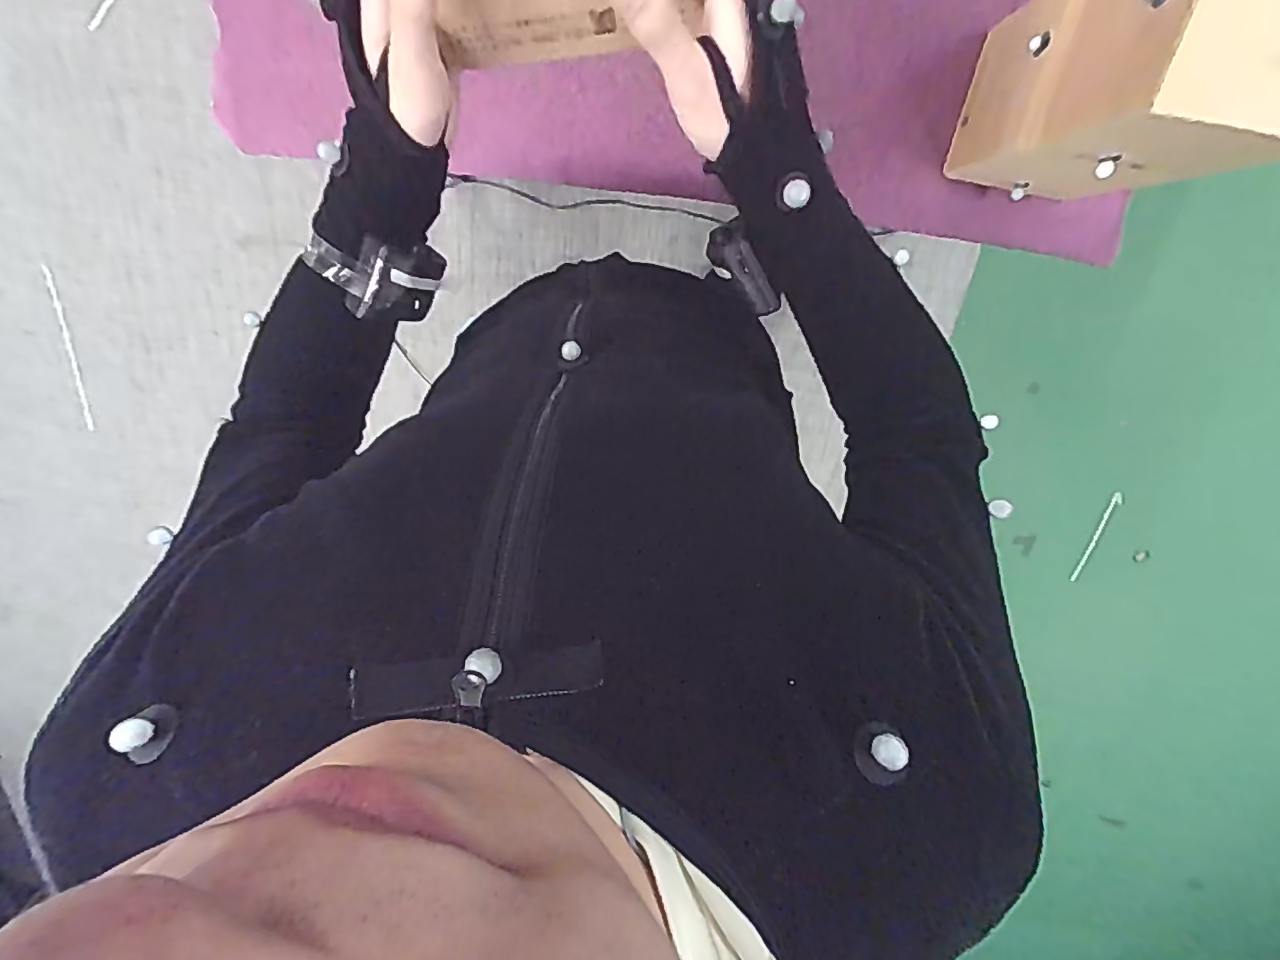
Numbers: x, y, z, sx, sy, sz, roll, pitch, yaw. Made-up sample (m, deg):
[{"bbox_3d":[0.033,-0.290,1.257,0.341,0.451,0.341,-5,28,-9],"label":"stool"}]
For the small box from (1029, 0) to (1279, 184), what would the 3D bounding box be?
[{"bbox_3d":[0.493,-0.381,0.472,0.168,0.176,0.179,11,111,0],"label":"small box"}]

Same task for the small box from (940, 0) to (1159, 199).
[{"bbox_3d":[0.495,-0.437,0.625,0.179,0.176,0.168,10,110,-2],"label":"small box"}]
